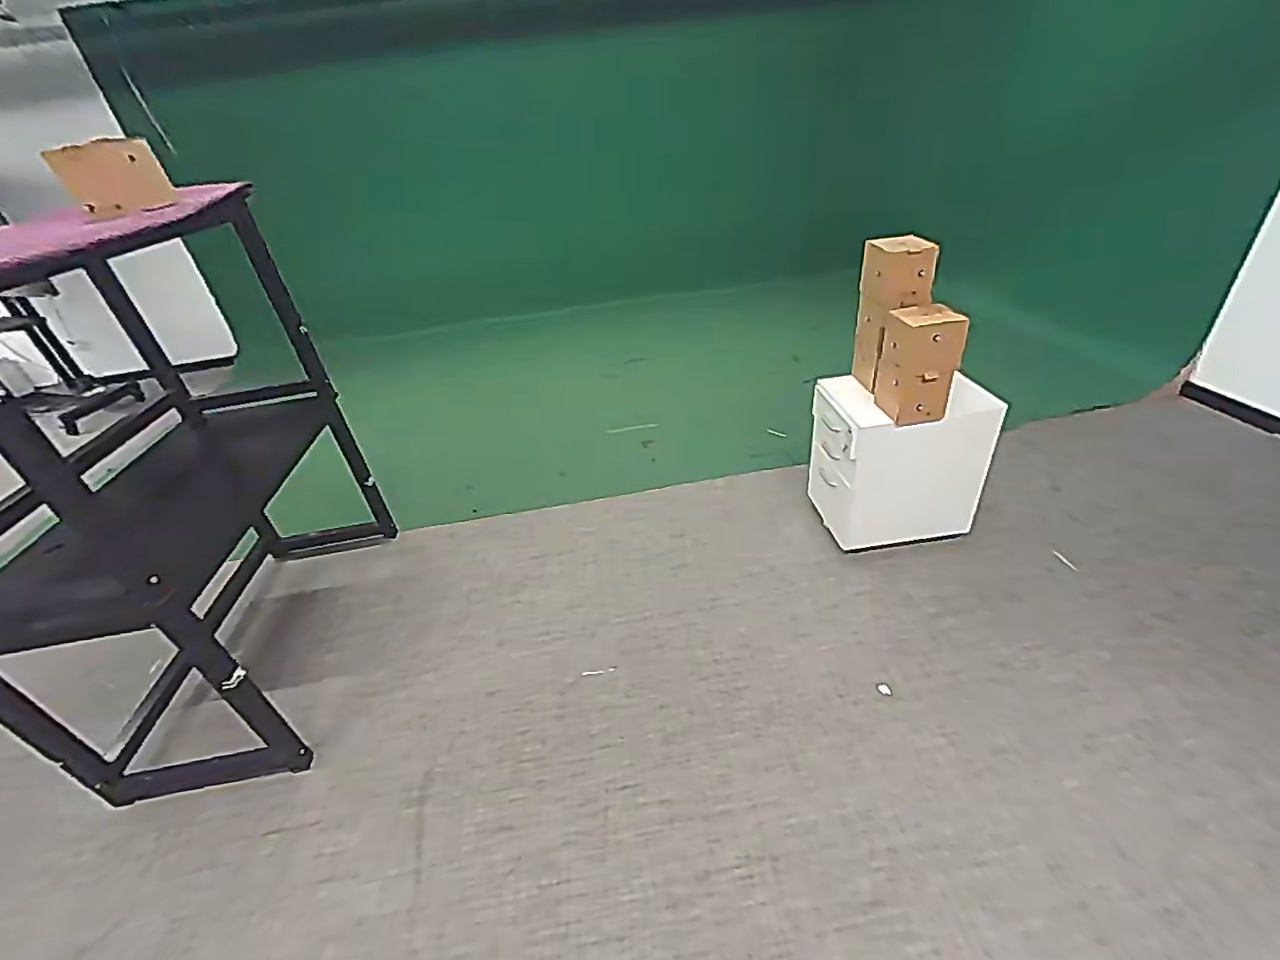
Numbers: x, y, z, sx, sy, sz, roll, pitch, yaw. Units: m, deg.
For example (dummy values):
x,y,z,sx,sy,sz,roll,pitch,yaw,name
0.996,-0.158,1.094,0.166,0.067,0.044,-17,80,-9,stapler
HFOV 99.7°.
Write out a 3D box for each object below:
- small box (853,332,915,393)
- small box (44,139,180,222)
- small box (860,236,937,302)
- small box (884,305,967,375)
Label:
x,y,z,sx,sy,sz,roll,pitch,yaw,name
0.908,-0.440,2.006,0.168,0.176,0.179,-9,36,-2,small box
-1.434,-0.821,1.486,0.168,0.176,0.179,-11,35,0,small box
0.862,-0.707,1.821,0.168,0.176,0.179,-7,34,-2,small box
0.896,-0.443,1.720,0.179,0.176,0.168,-7,35,-1,small box
